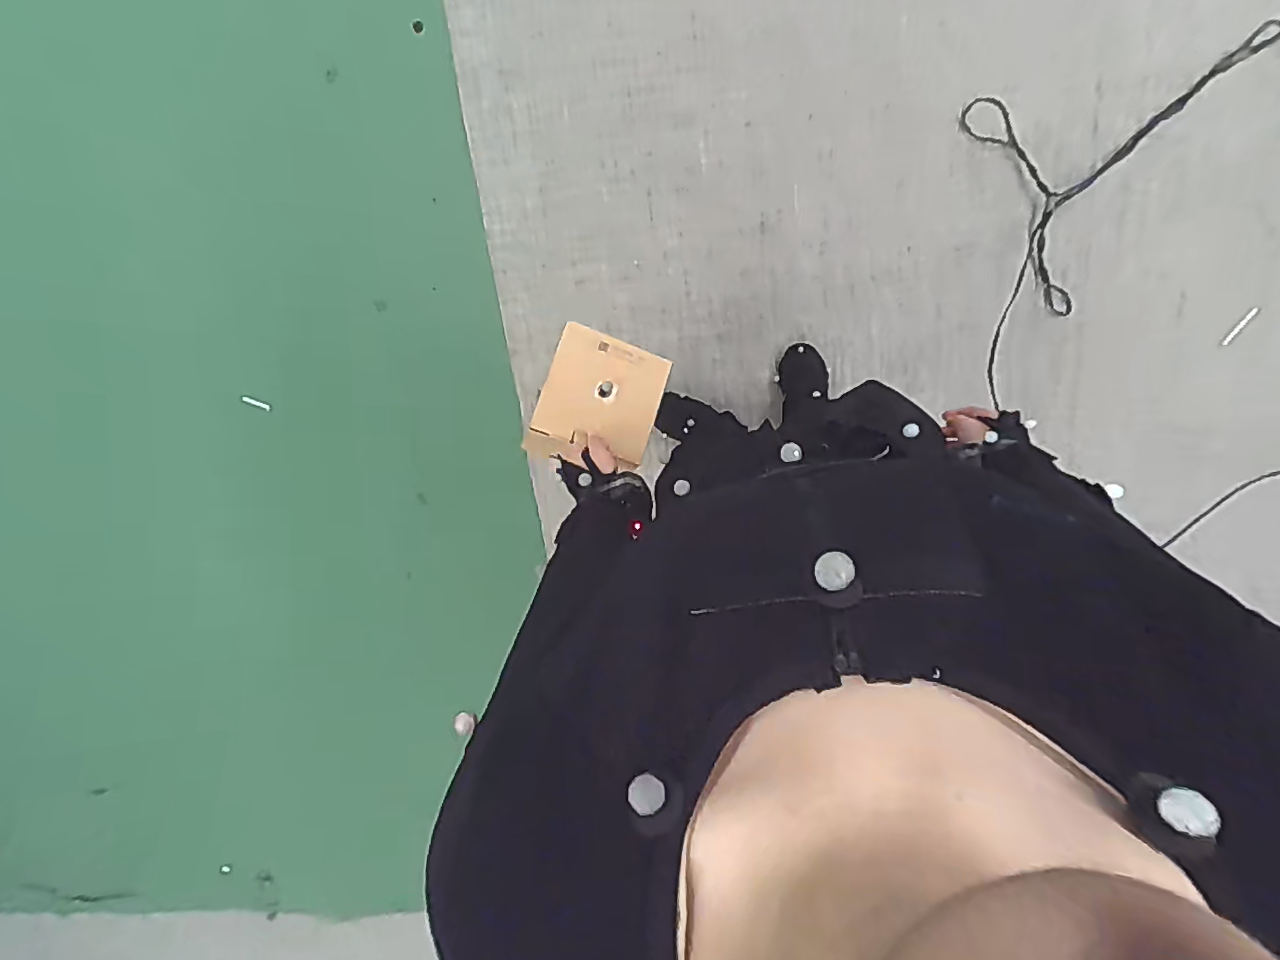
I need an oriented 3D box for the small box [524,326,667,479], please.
[{"bbox_3d":[-0.070,-0.114,0.840,0.168,0.179,0.176,19,79,-13],"label":"small box"}]
